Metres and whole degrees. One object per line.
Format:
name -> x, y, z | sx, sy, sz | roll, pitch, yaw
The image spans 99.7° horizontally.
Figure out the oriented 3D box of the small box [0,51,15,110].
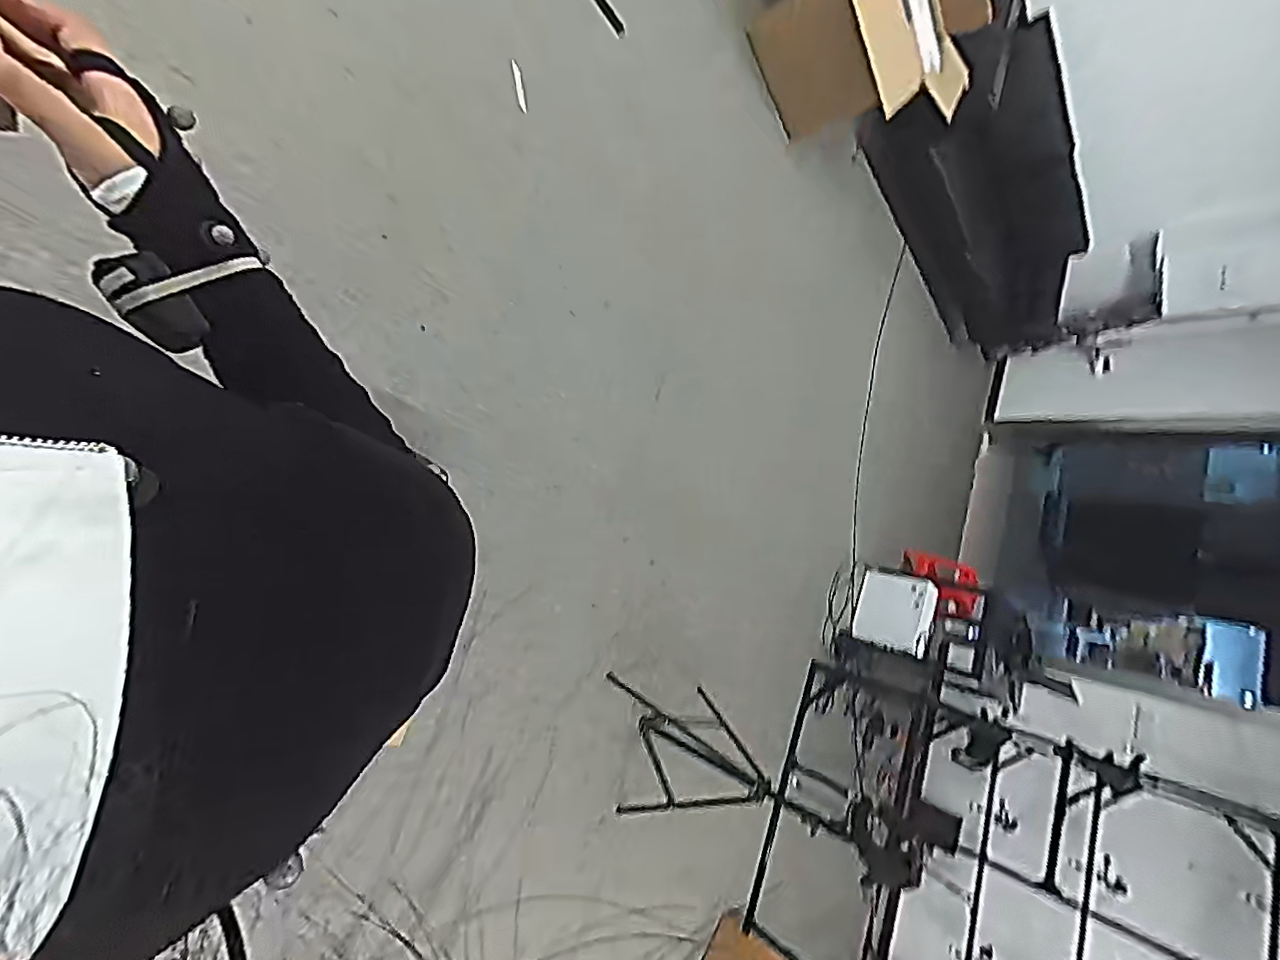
small box -> -0.471, -0.304, 0.269 | 0.179, 0.176, 0.168 | -19, 117, -42
